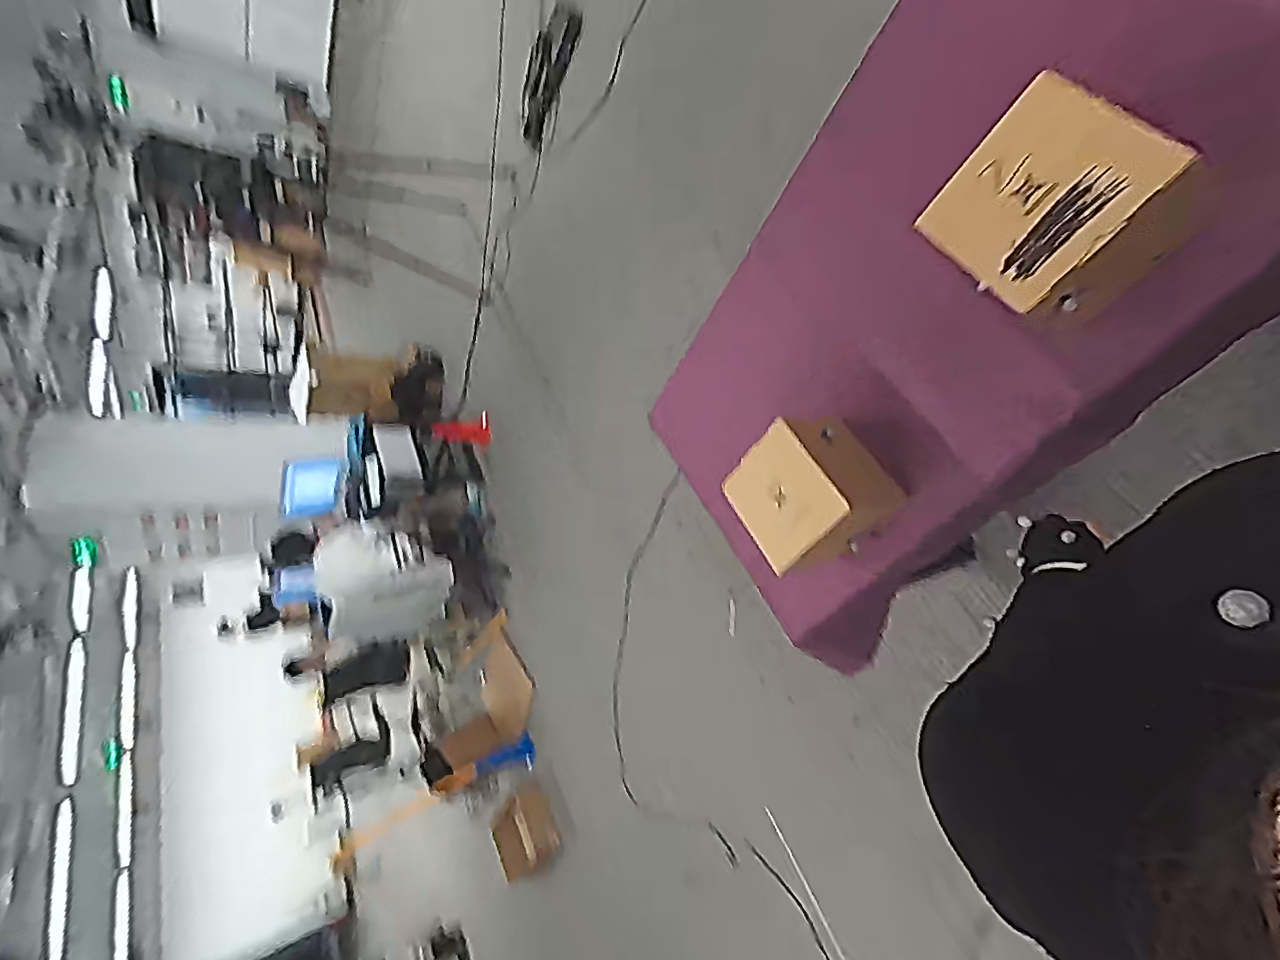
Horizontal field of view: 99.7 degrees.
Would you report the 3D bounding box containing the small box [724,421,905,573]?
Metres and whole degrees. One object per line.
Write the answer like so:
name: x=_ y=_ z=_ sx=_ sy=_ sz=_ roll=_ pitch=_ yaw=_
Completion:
small box: x=0.274 y=0.025 z=0.864 sx=0.168 sy=0.176 sz=0.179 roll=-56 pitch=51 yaw=38
